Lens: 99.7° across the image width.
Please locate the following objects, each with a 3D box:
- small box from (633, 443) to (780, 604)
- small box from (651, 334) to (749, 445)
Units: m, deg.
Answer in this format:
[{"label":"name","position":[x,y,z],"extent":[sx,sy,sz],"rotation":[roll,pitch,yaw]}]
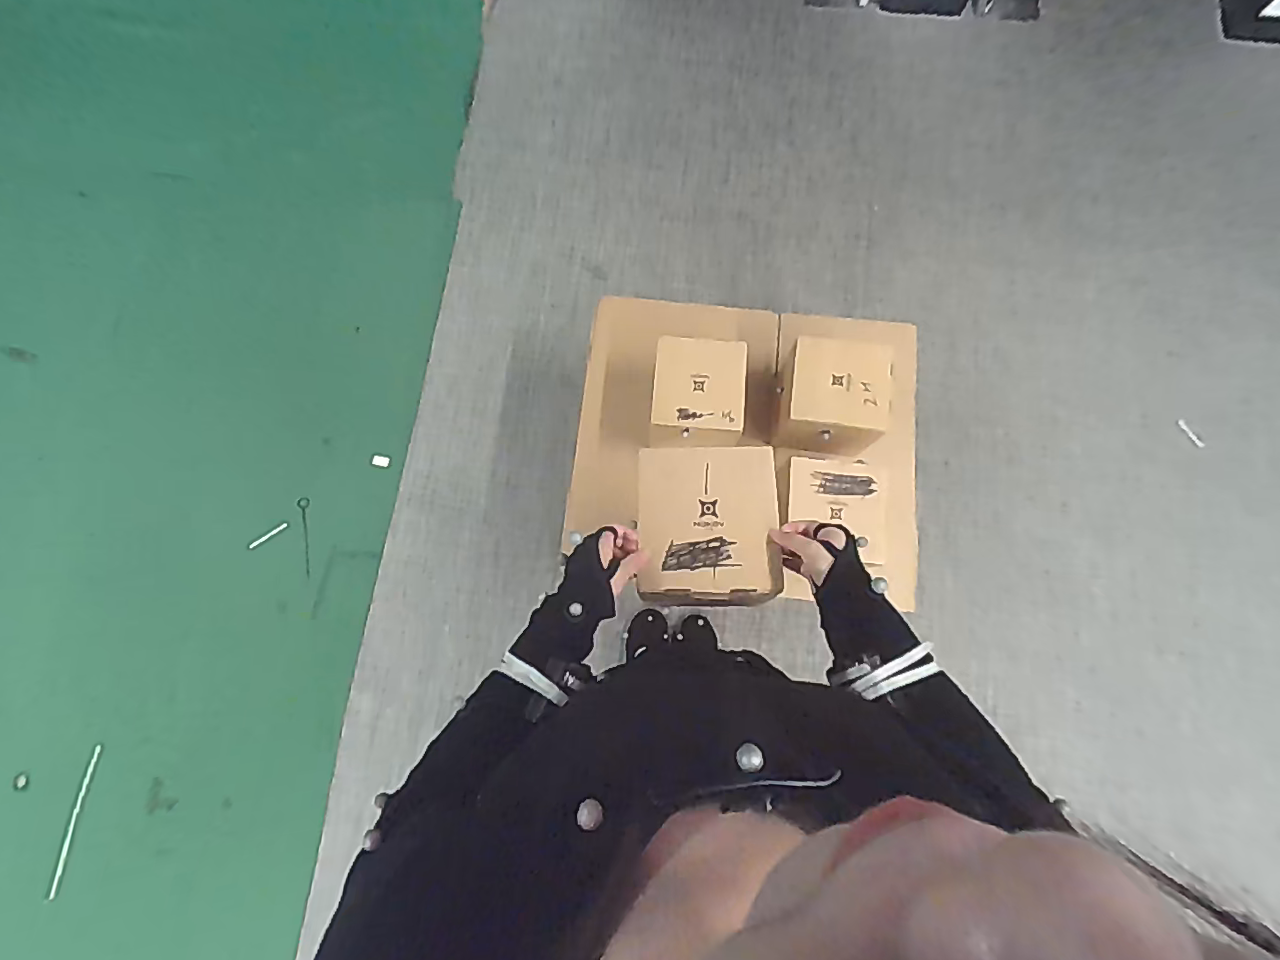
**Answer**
[{"label":"small box","position":[0.081,0.064,0.697],"extent":[0.168,0.176,0.179],"rotation":[-1,70,4]},{"label":"small box","position":[0.111,-0.157,1.042],"extent":[0.168,0.176,0.179],"rotation":[5,76,4]}]
